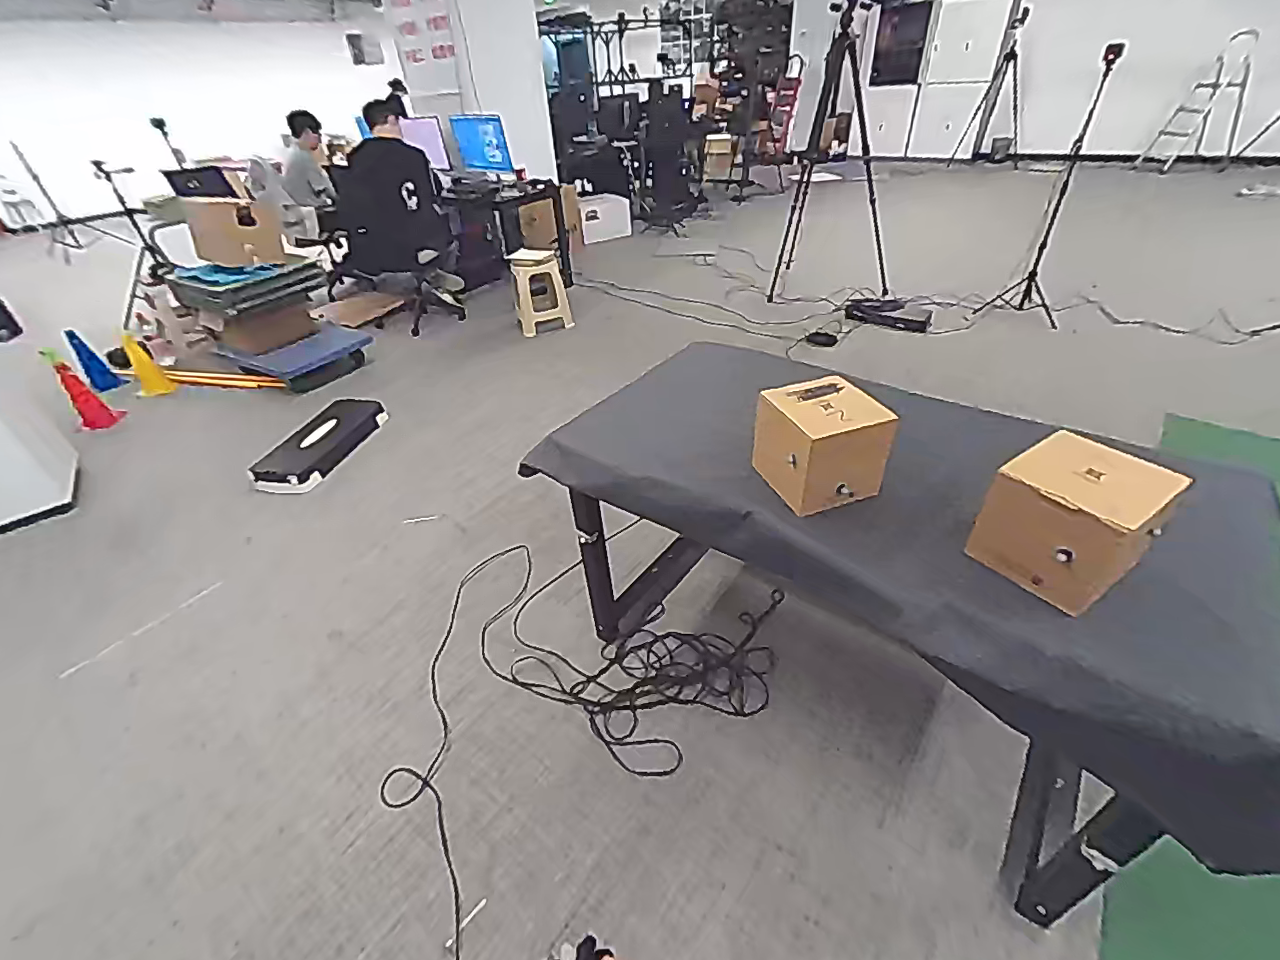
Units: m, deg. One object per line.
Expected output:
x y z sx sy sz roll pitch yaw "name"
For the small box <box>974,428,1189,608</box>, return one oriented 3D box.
0.624 0.054 0.789 0.179 0.176 0.168 -23 41 -25 "small box"
